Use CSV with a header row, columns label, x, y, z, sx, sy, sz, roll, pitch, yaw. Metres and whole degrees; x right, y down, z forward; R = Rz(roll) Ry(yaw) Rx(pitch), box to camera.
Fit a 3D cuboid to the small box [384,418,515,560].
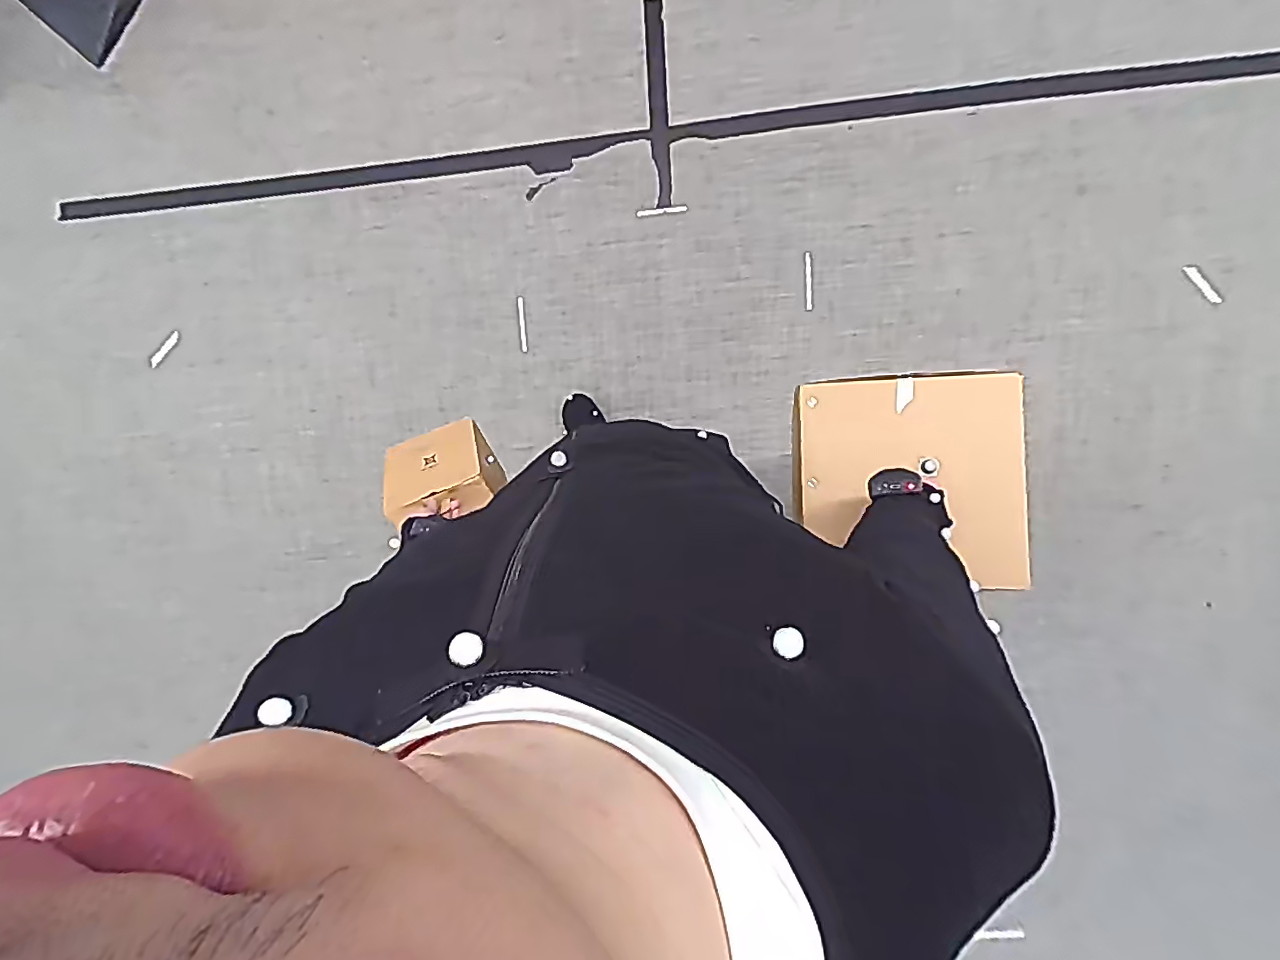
label,x,y,z,sx,sy,sz,roll,pitch,yaw
small box,-0.341,0.024,0.982,0.168,0.179,0.176,-22,135,-4
